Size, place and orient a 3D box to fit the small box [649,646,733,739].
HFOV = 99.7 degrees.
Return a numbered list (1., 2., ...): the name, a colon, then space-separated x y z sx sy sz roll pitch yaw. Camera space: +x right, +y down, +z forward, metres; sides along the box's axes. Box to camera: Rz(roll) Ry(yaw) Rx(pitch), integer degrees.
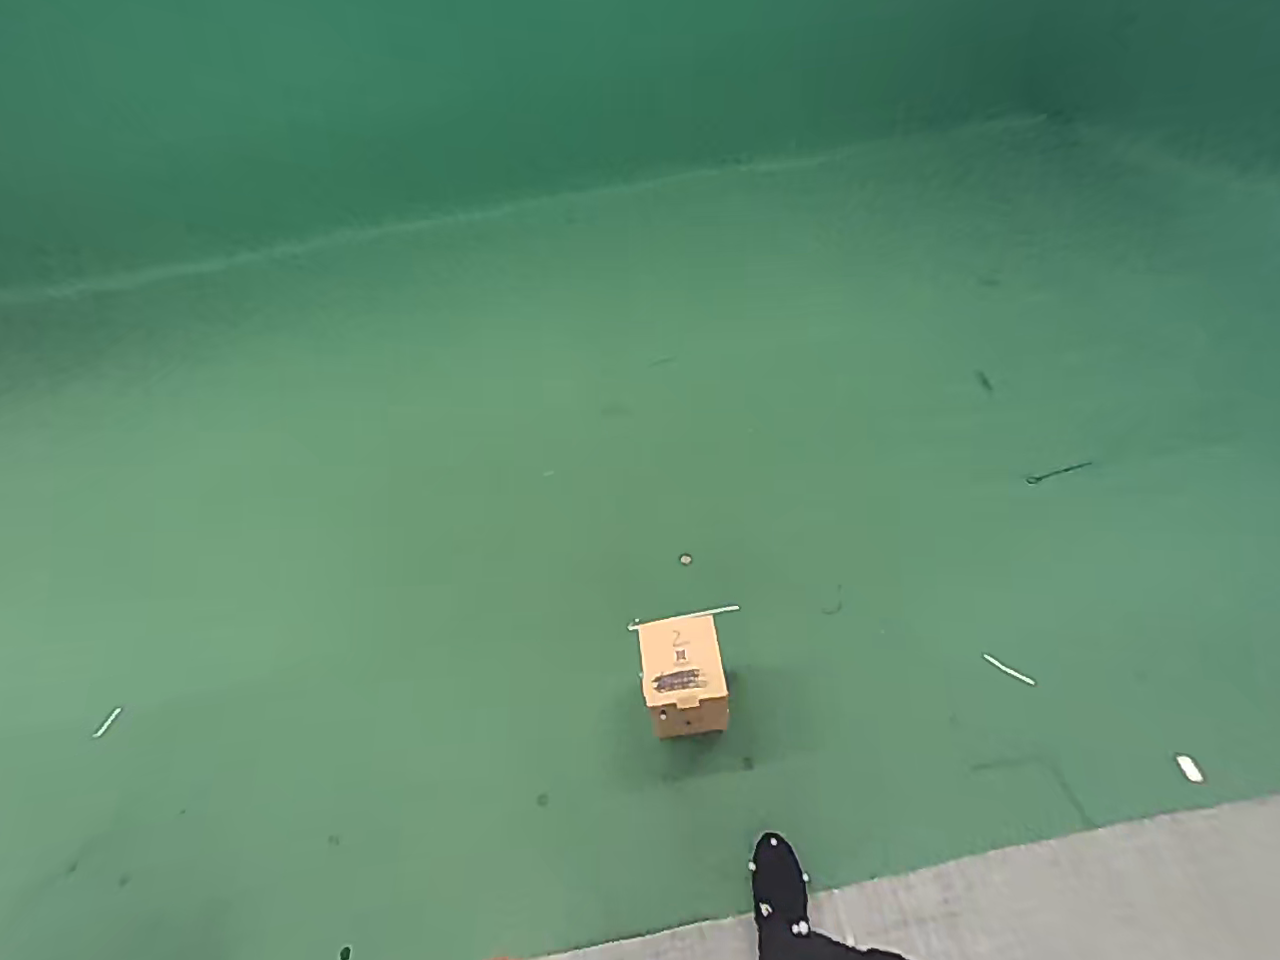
1. small box: 0.121 0.518 1.313 0.179 0.176 0.168 -8 54 1
